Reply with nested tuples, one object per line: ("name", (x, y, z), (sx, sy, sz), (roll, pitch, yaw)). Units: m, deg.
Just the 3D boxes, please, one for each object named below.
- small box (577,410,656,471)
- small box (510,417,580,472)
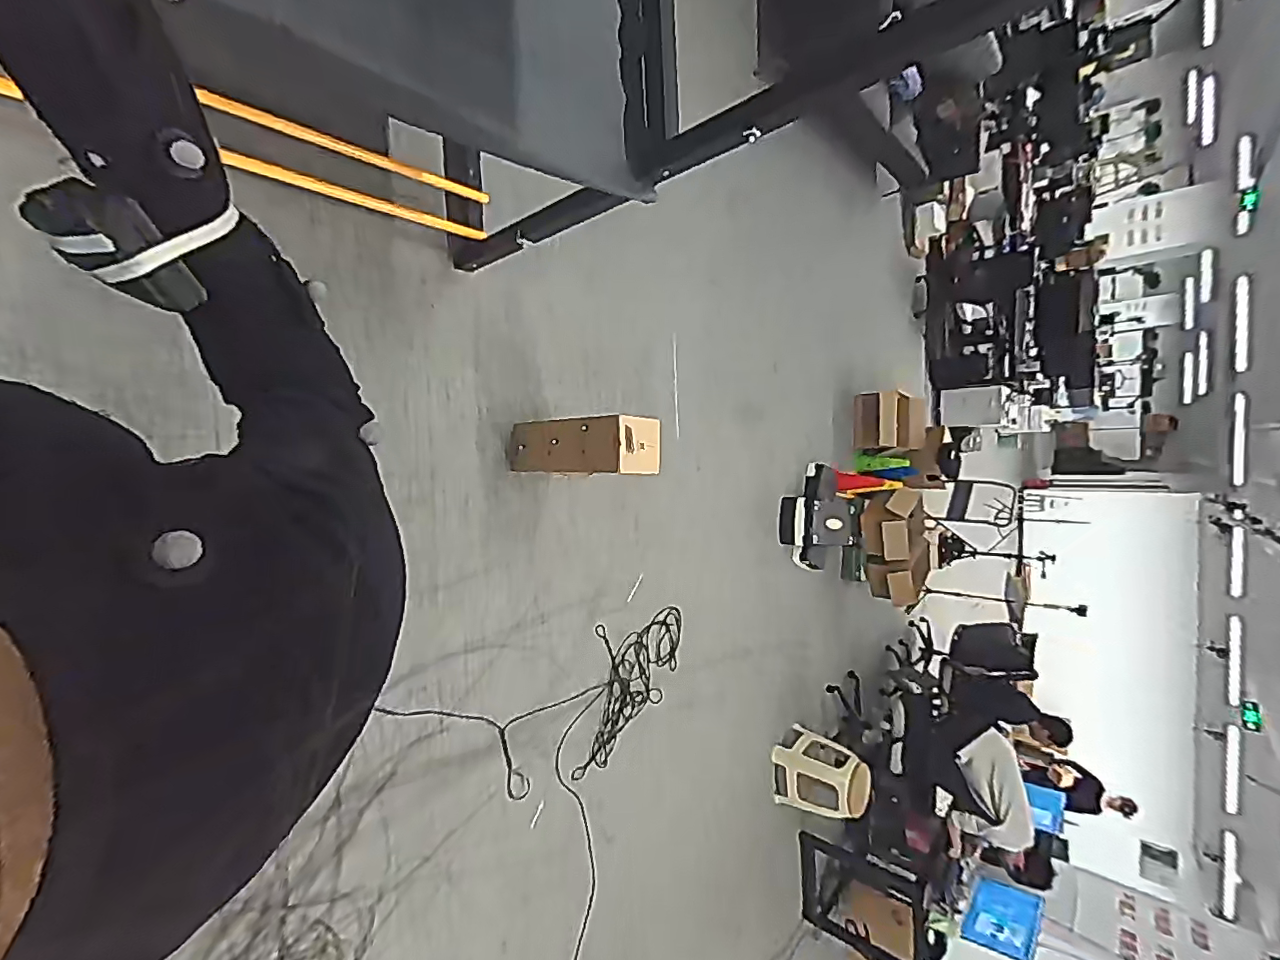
("small box", (-0.072, -0.112, 1.609), (0.179, 0.176, 0.168), (0, 91, -49))
("small box", (-0.316, -0.116, 1.826), (0.179, 0.176, 0.168), (4, 88, -48))
